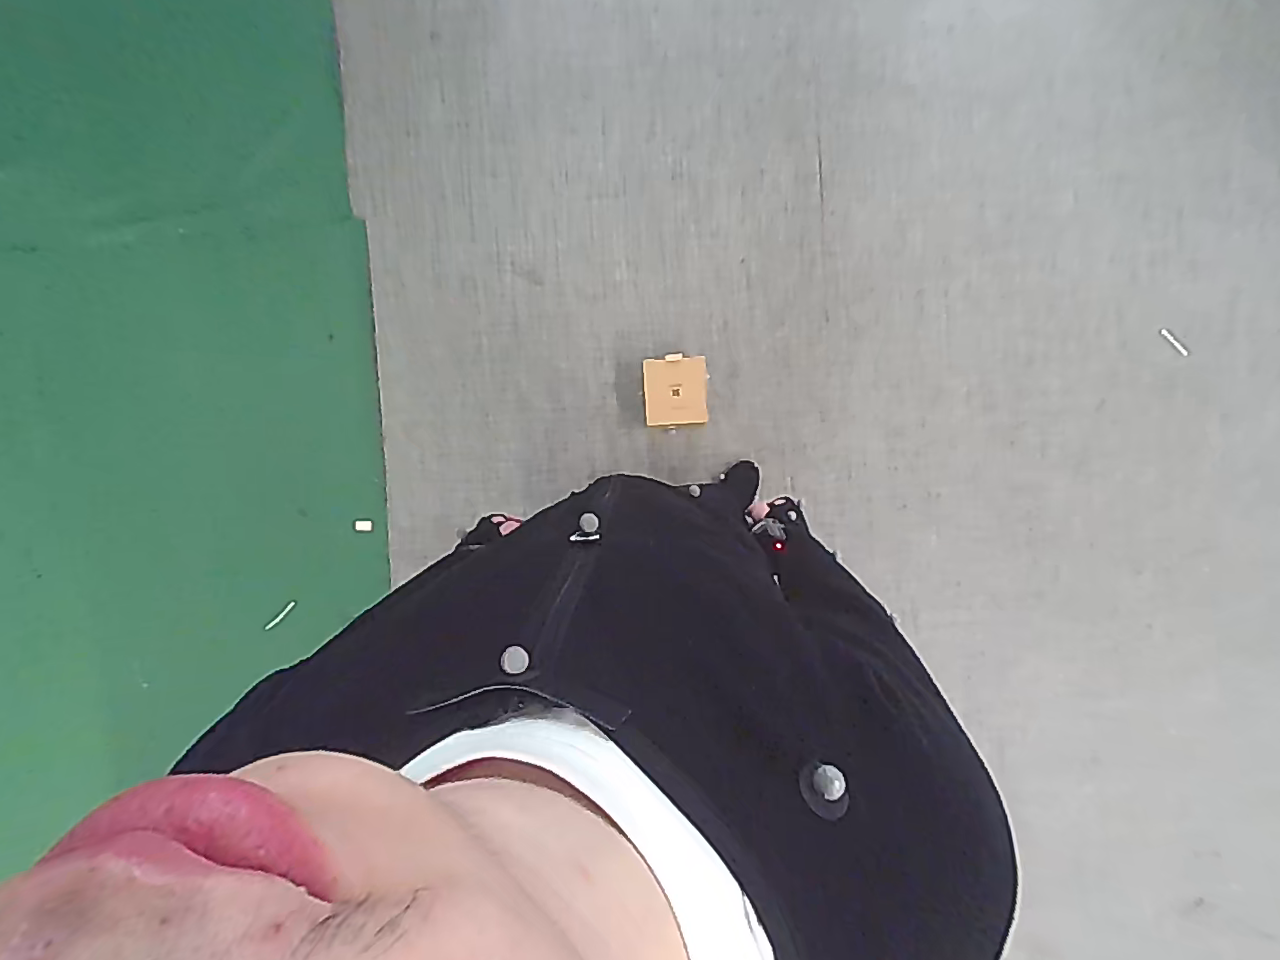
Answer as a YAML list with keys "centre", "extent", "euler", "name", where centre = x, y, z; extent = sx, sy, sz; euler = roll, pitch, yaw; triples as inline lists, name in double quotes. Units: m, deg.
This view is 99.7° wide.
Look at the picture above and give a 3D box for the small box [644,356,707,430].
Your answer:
- centre: [0.096, -0.233, 1.476]
  extent: [0.168, 0.176, 0.179]
  euler: [-1, 91, 4]
  name: "small box"
